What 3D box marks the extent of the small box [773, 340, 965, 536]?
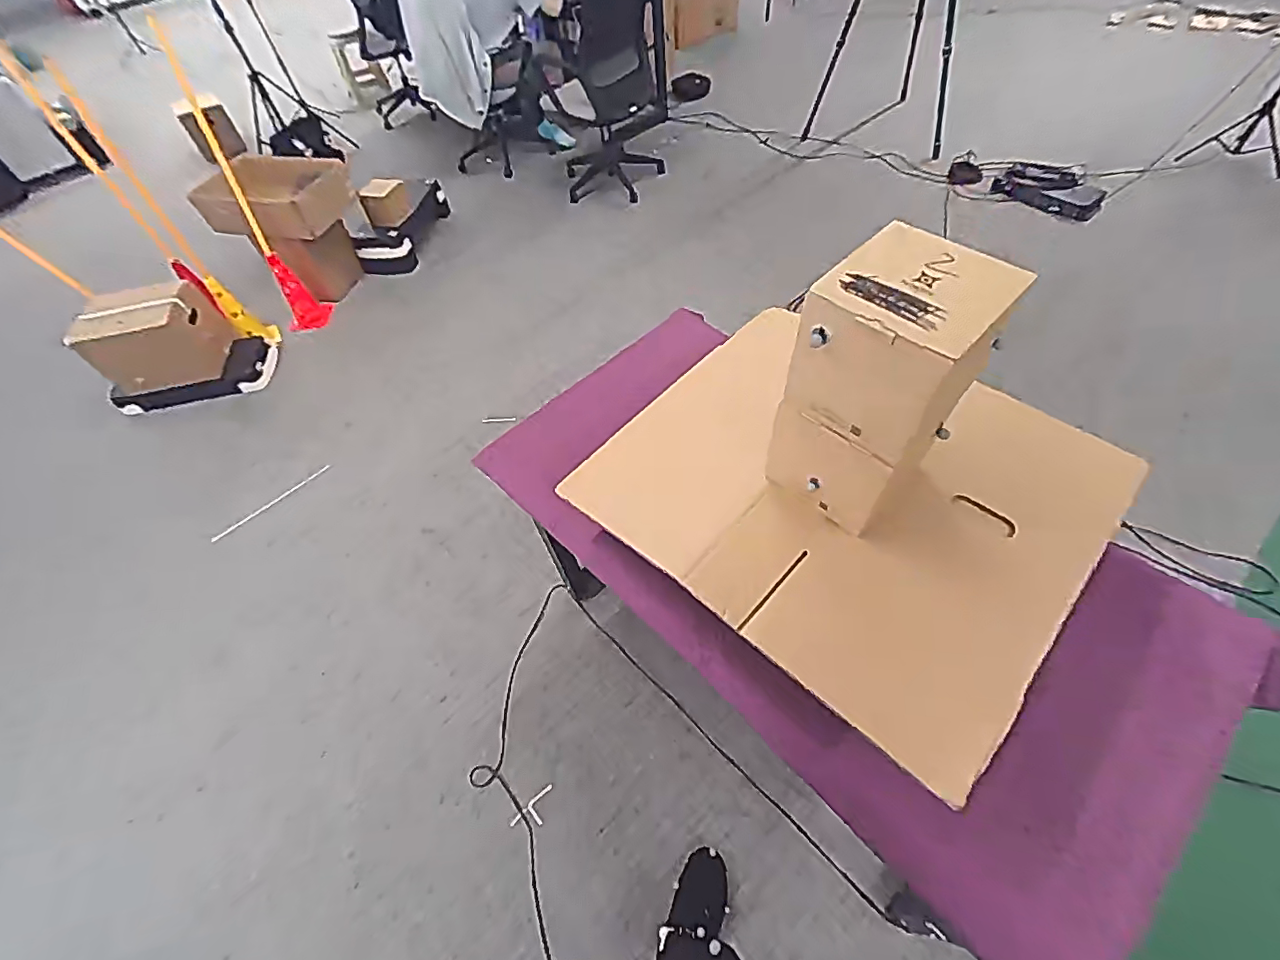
[{"bbox_3d":[0.306,-0.057,0.762,0.179,0.176,0.168,-41,62,-21],"label":"small box"}]
